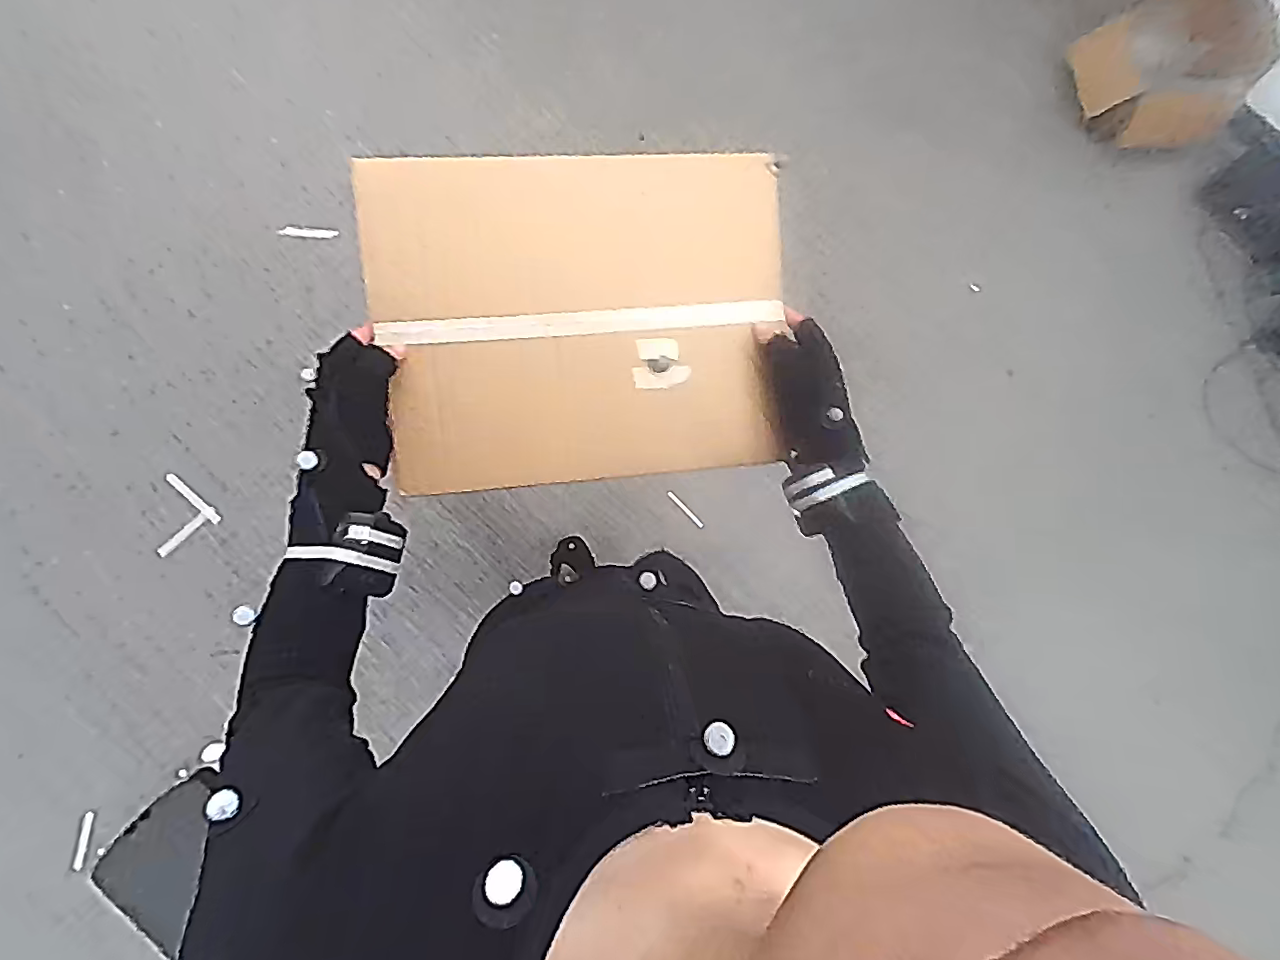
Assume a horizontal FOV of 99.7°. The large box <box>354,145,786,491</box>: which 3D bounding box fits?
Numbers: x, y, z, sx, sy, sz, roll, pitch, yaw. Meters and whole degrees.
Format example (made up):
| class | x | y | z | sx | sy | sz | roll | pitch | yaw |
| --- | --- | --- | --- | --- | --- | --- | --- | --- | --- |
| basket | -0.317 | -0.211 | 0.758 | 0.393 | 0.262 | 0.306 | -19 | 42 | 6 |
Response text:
| class | x | y | z | sx | sy | sz | roll | pitch | yaw |
| --- | --- | --- | --- | --- | --- | --- | --- | --- | --- |
| large box | -0.077 | -0.179 | 0.685 | 0.408 | 0.320 | 0.320 | -7 | 97 | -9 |
